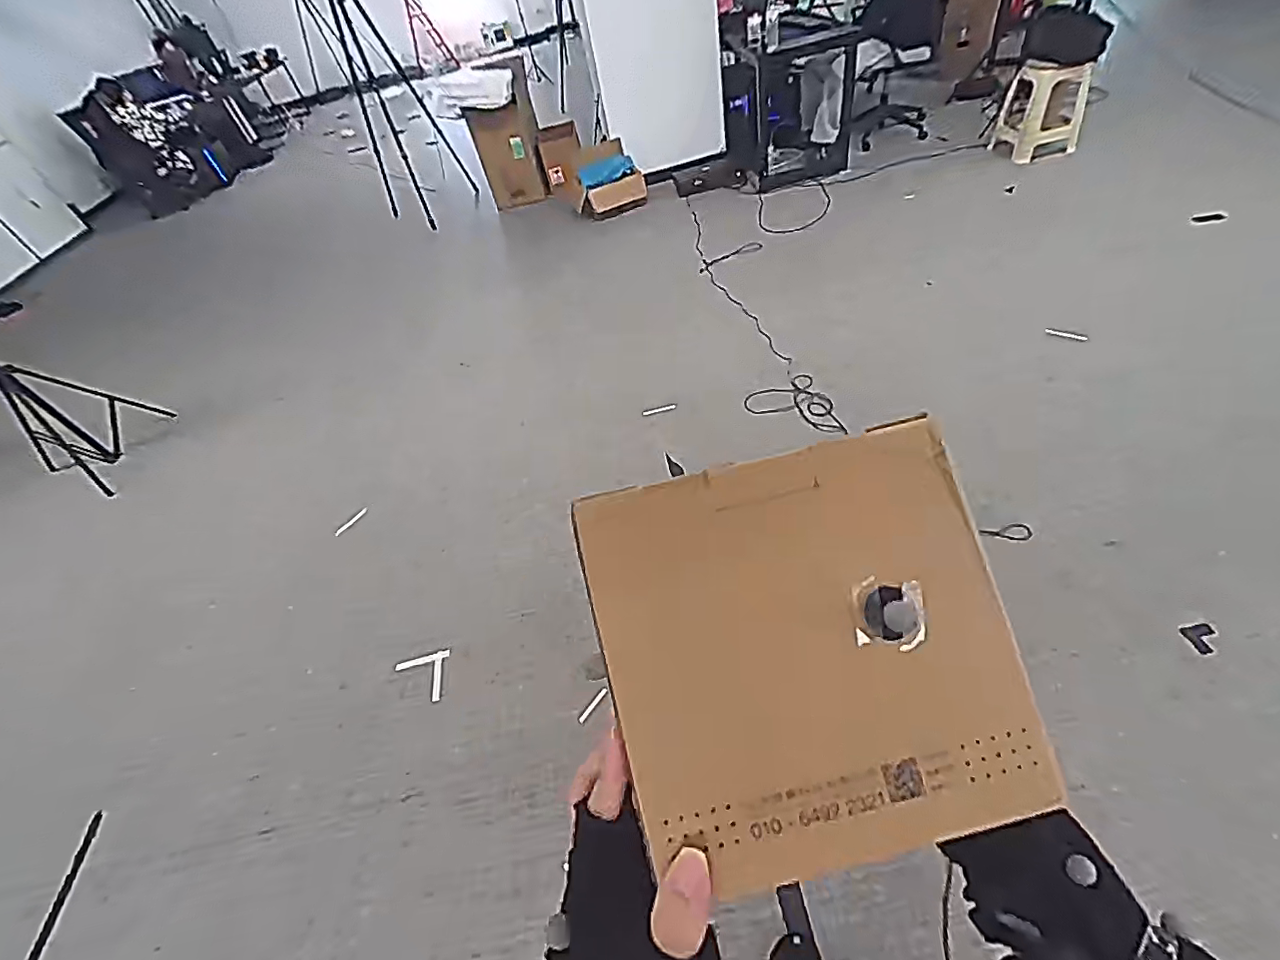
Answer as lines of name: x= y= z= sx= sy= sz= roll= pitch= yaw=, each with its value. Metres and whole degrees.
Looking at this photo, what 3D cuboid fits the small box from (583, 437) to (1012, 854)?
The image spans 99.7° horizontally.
small box: x=0.073 y=0.089 z=0.323 sx=0.168 sy=0.179 sz=0.176 roll=-13 pitch=82 yaw=-1
